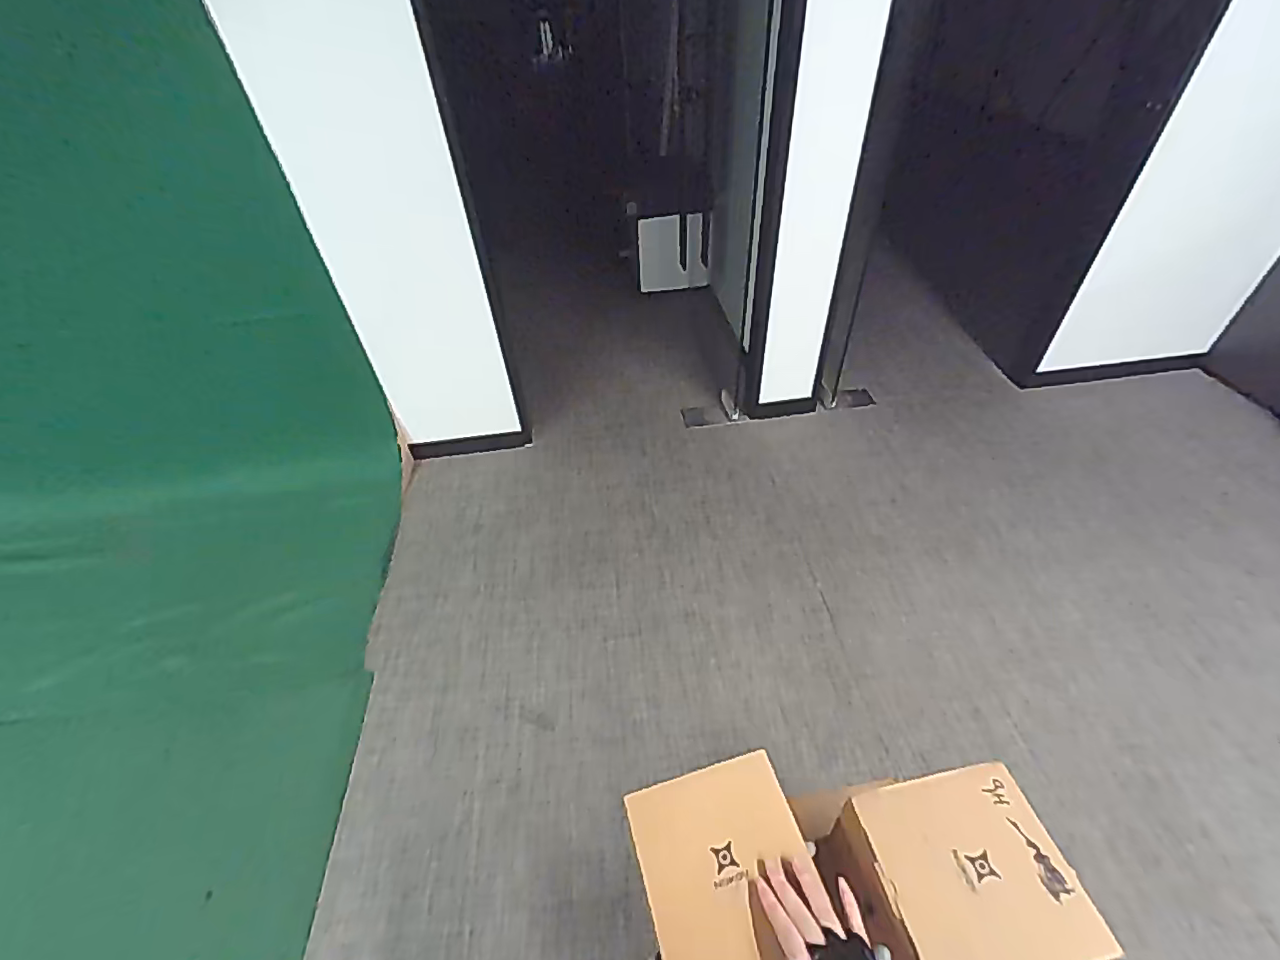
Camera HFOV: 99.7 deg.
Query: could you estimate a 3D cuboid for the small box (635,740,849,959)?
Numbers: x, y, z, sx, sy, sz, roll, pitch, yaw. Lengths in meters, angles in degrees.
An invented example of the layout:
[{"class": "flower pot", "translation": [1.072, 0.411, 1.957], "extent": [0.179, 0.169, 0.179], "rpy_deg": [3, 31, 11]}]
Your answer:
[{"class": "small box", "translation": [0.095, 0.426, 0.597], "extent": [0.168, 0.176, 0.179], "rpy_deg": [-13, 47, -10]}]
